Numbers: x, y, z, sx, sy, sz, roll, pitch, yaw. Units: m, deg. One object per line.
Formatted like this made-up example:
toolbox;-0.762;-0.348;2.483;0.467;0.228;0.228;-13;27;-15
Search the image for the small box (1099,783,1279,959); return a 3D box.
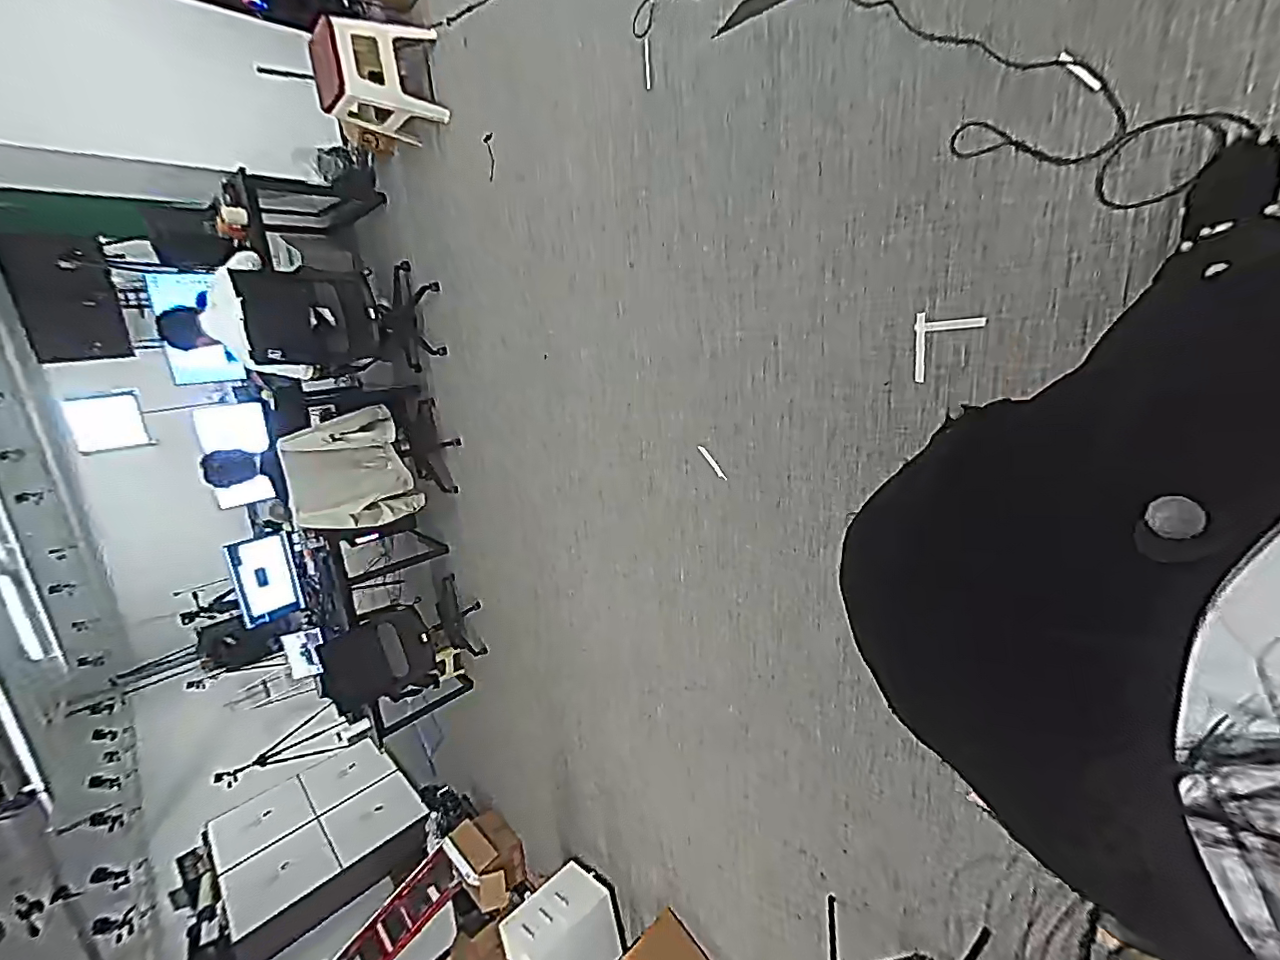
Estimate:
small box;0.792;0.592;0.781;0.168;0.176;0.179;10;108;43
